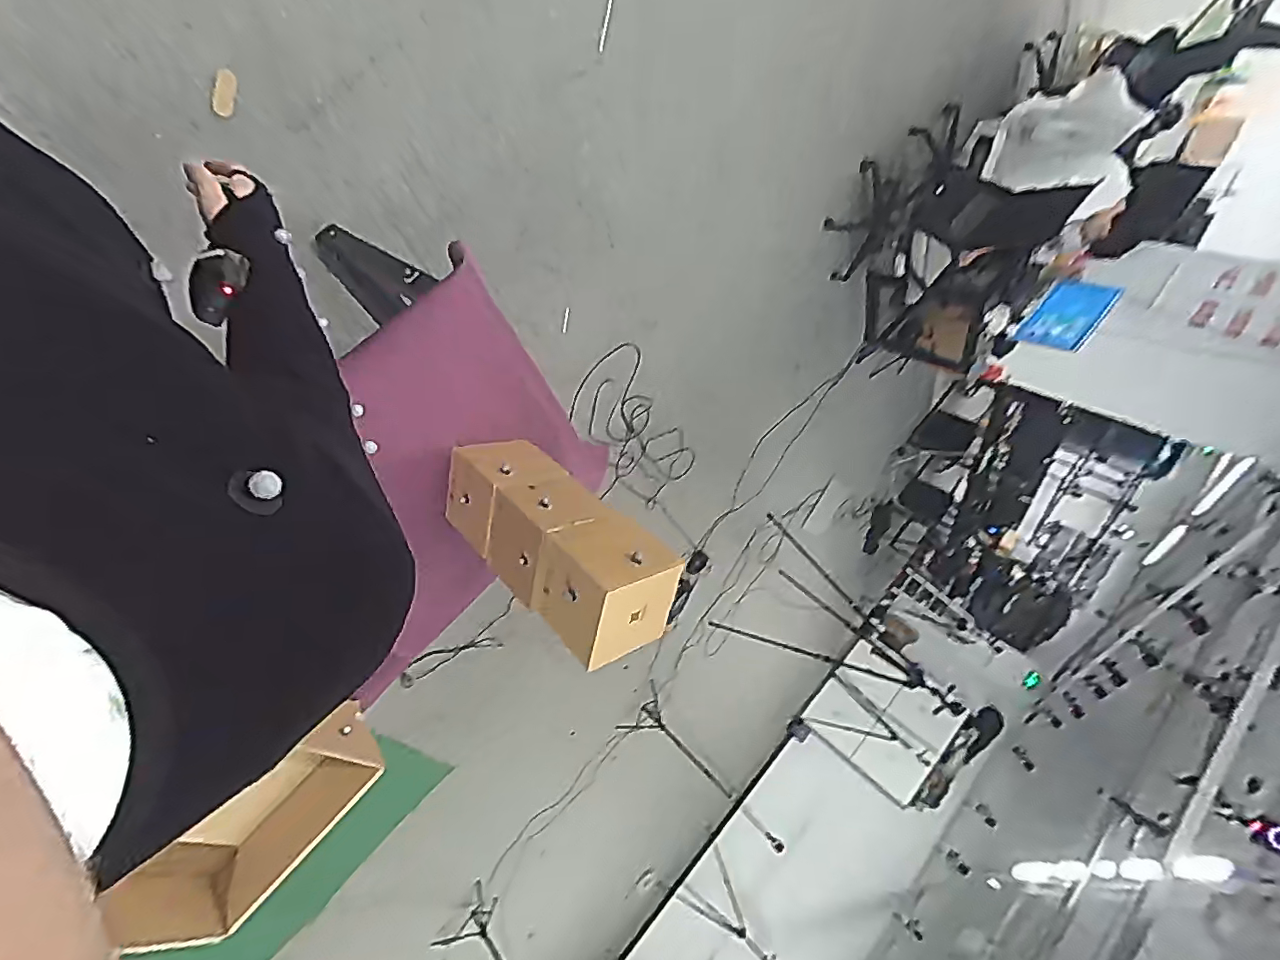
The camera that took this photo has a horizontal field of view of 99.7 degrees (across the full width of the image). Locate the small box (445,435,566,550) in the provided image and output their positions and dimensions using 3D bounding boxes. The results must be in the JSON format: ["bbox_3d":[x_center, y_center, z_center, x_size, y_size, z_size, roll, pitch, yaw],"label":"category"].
[{"bbox_3d":[-0.284,0.018,1.122,0.179,0.176,0.168,-12,127,-44],"label":"small box"}]

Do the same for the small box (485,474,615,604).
[{"bbox_3d":[-0.177,0.100,1.031,0.168,0.176,0.179,-11,126,-44],"label":"small box"}]

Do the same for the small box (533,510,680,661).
[{"bbox_3d":[-0.065,0.173,0.940,0.179,0.176,0.168,-13,127,-43],"label":"small box"}]
